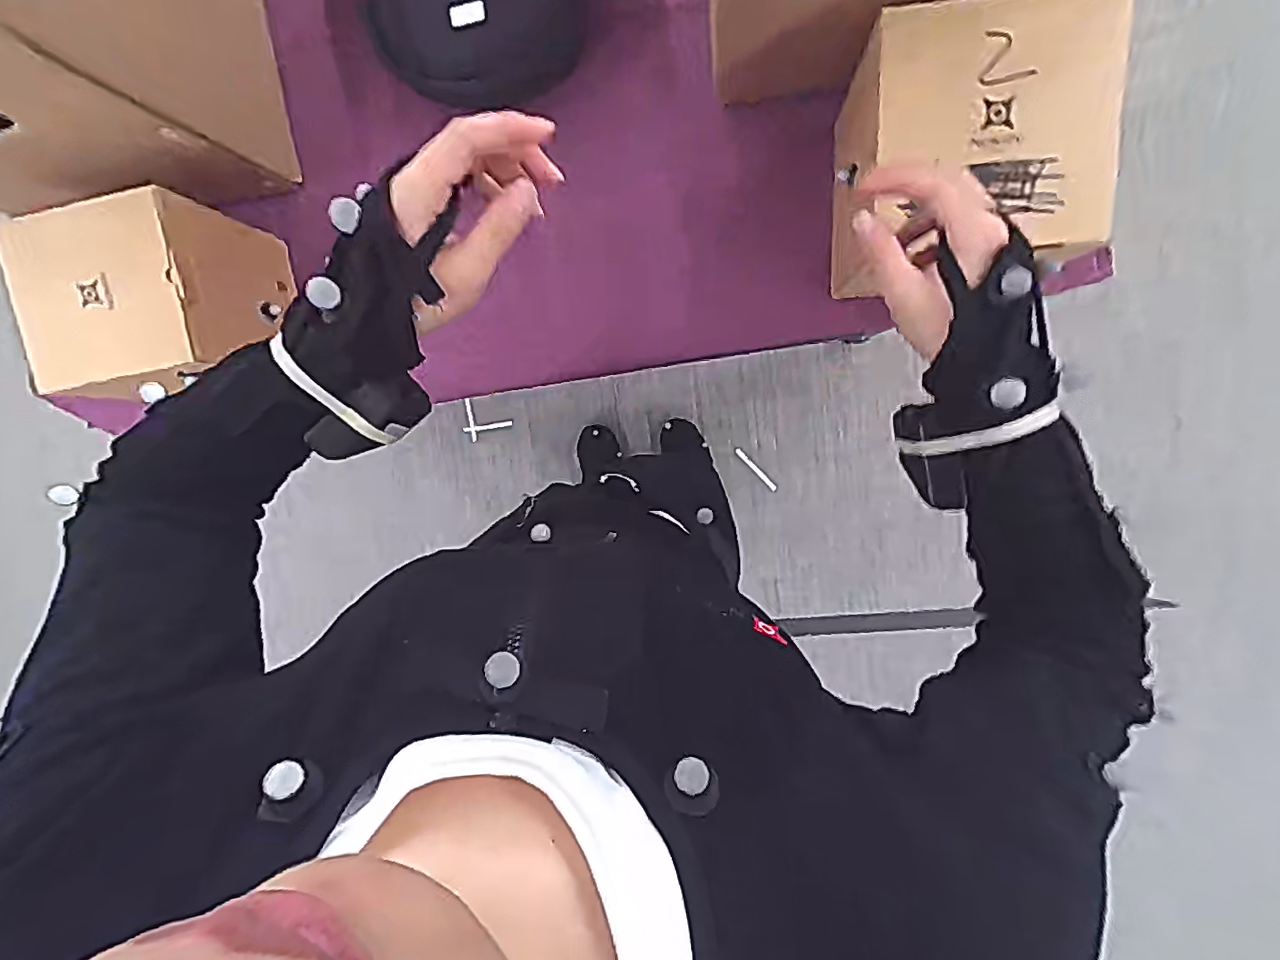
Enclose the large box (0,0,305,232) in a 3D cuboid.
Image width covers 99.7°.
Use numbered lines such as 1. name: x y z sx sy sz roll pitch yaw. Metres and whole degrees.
1. large box: -0.595 -0.502 0.497 0.320 0.320 0.408 -8 99 8
